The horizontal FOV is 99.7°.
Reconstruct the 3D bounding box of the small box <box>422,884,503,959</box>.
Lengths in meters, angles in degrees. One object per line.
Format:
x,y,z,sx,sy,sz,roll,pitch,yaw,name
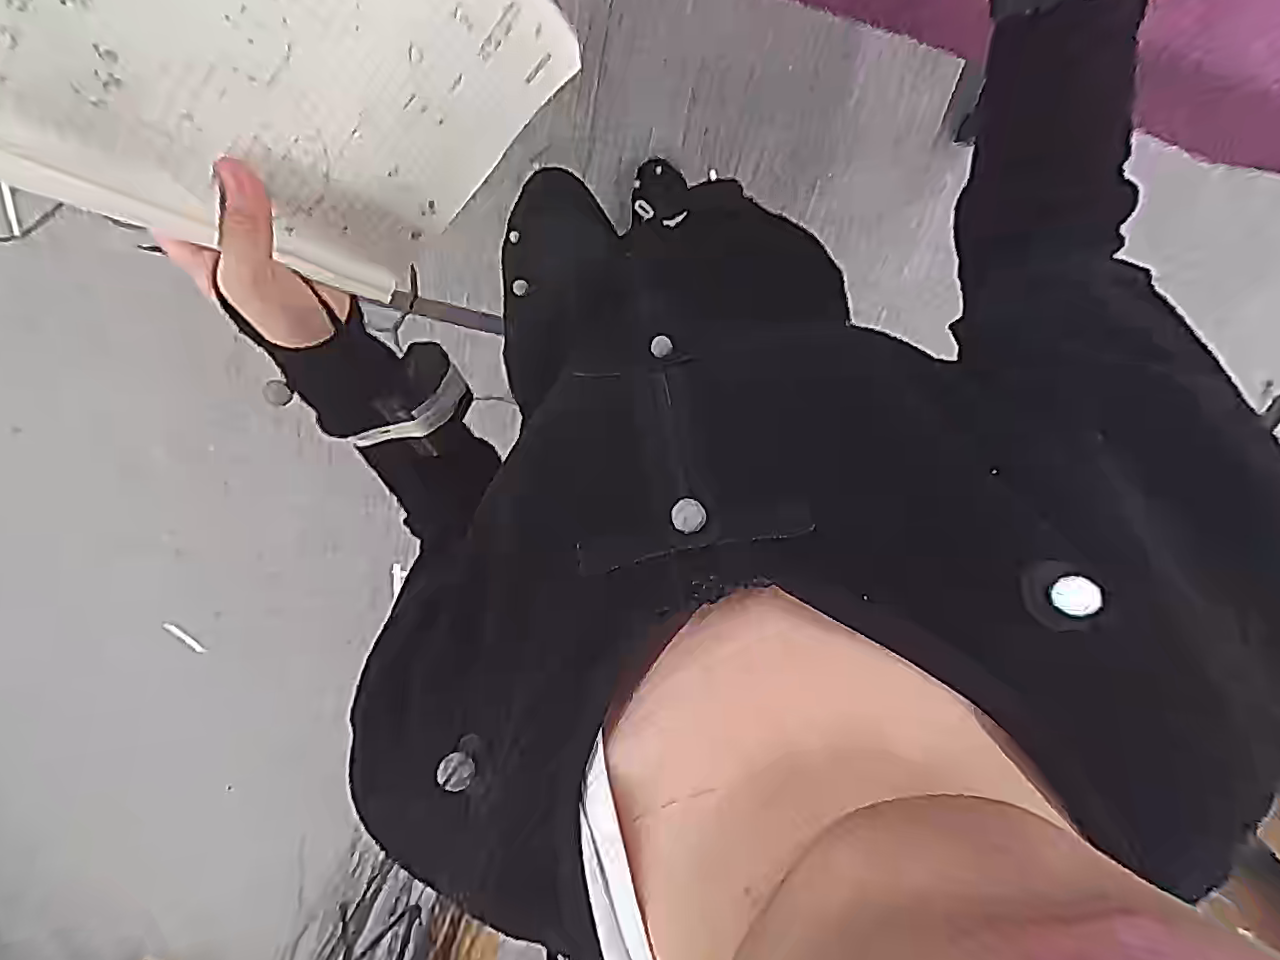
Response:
-0.470,1.206,1.420,0.168,0.176,0.179,16,117,-10,small box
